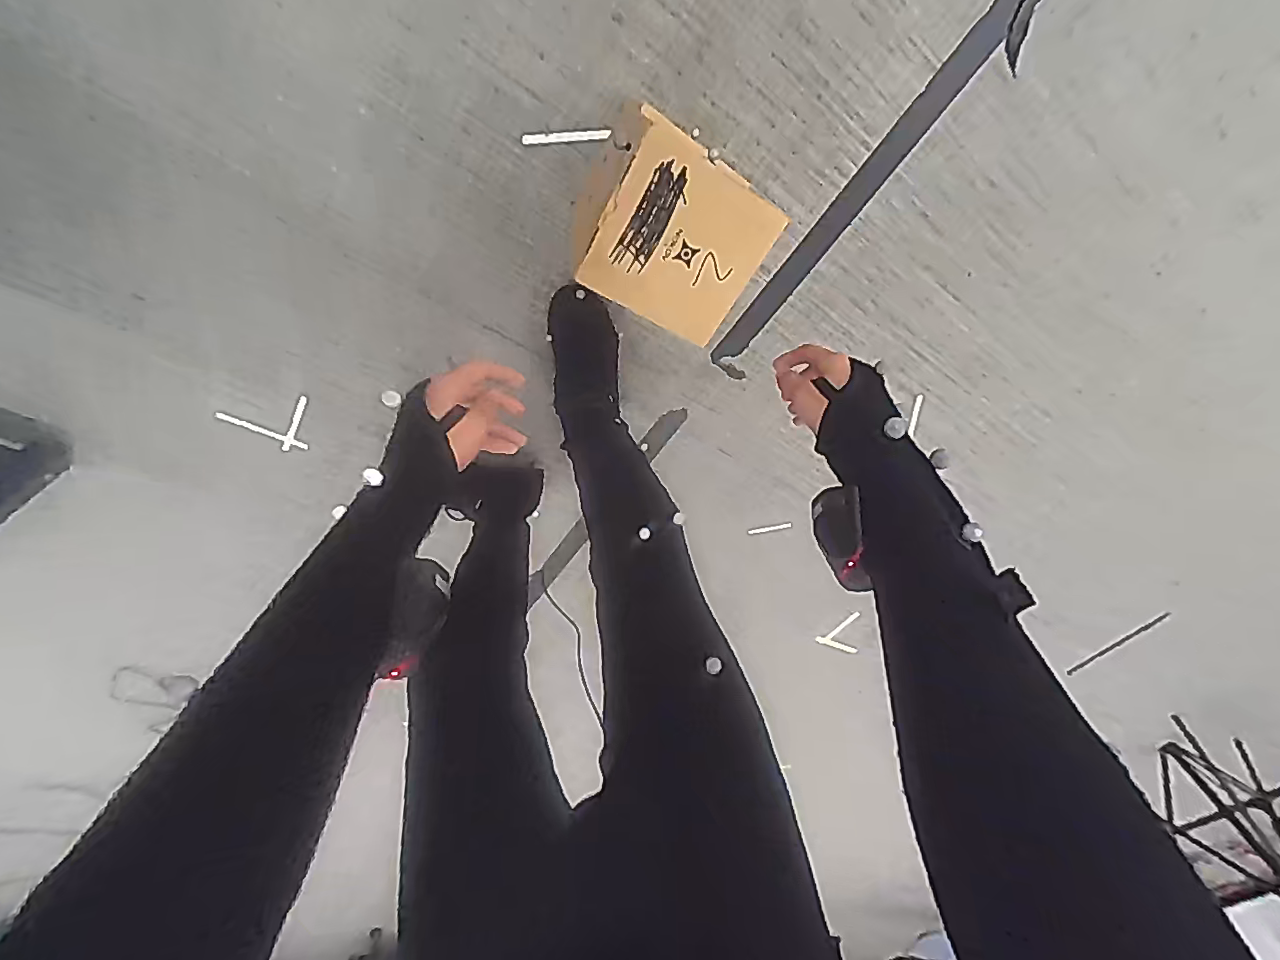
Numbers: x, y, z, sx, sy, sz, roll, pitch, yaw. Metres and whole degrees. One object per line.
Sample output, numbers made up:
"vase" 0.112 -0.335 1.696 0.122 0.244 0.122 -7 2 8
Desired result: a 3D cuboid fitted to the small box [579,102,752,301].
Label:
"small box" 0.022 -0.393 0.758 0.168 0.176 0.179 25 121 -24
